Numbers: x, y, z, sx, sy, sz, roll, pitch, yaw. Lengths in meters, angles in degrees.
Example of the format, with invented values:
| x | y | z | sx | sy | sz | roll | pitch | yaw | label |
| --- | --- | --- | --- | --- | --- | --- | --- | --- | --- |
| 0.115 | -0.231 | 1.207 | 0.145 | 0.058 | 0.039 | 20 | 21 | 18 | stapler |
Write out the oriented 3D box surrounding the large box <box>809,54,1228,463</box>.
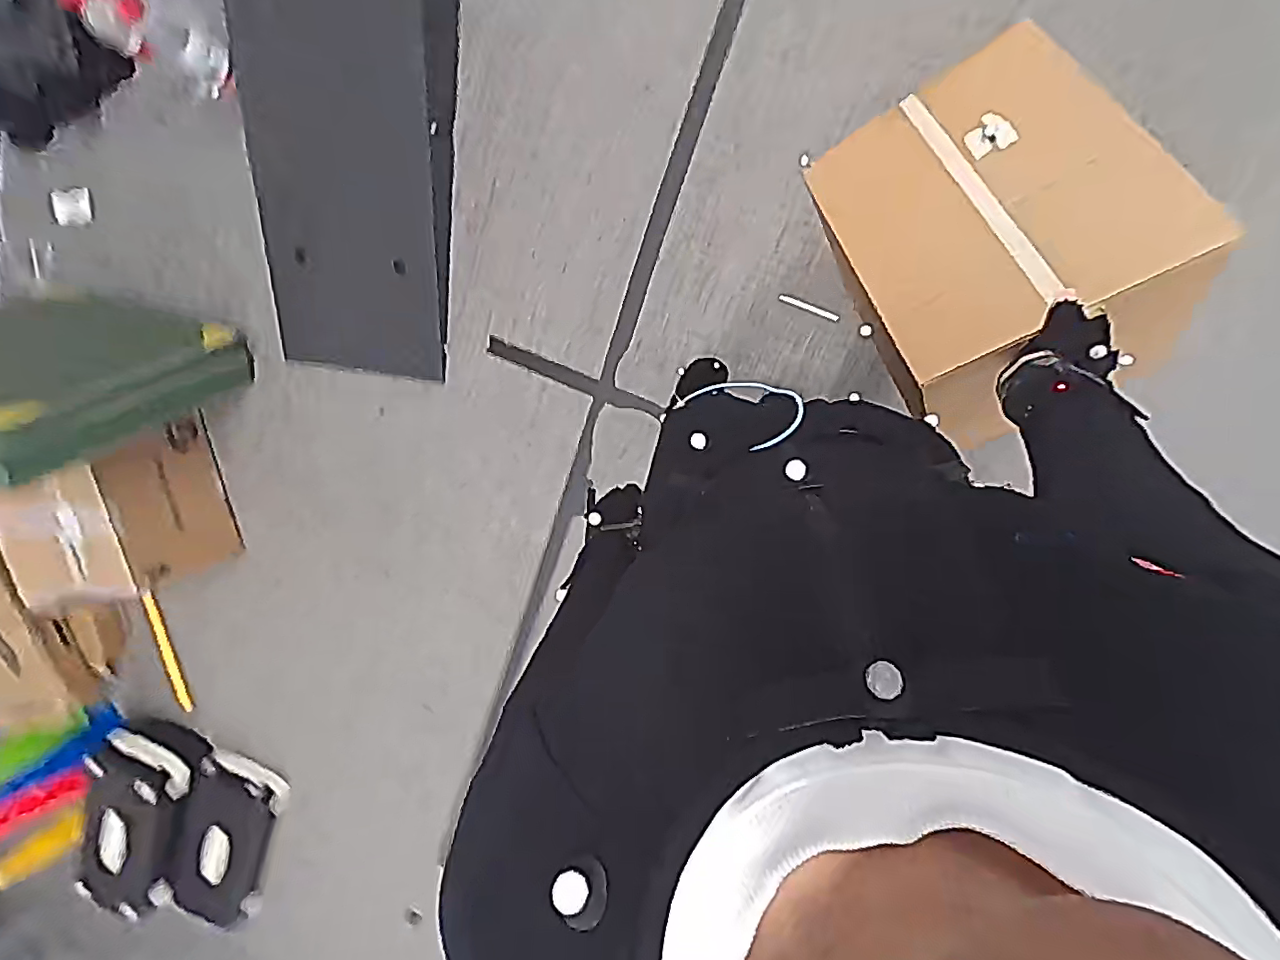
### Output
| x | y | z | sx | sy | sz | roll | pitch | yaw | label |
| --- | --- | --- | --- | --- | --- | --- | --- | --- | --- |
| 0.509 | -0.298 | 0.813 | 0.320 | 0.320 | 0.408 | -25 | 61 | 22 | large box |
